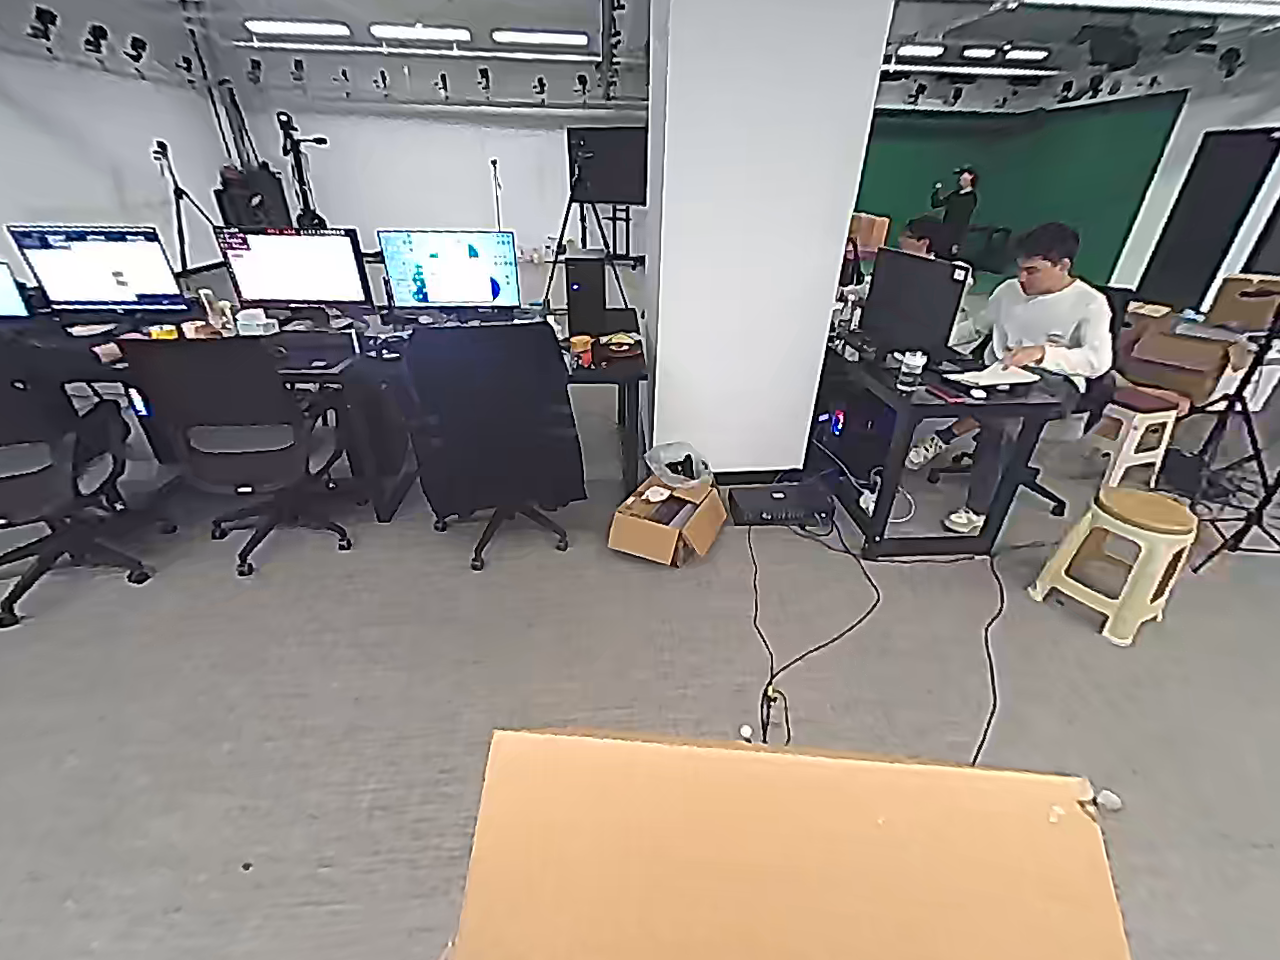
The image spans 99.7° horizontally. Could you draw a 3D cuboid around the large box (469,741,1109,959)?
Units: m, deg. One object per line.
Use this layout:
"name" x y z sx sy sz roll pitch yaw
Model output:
"large box" 0.090 0.401 0.457 0.408 0.320 0.320 3 67 3
